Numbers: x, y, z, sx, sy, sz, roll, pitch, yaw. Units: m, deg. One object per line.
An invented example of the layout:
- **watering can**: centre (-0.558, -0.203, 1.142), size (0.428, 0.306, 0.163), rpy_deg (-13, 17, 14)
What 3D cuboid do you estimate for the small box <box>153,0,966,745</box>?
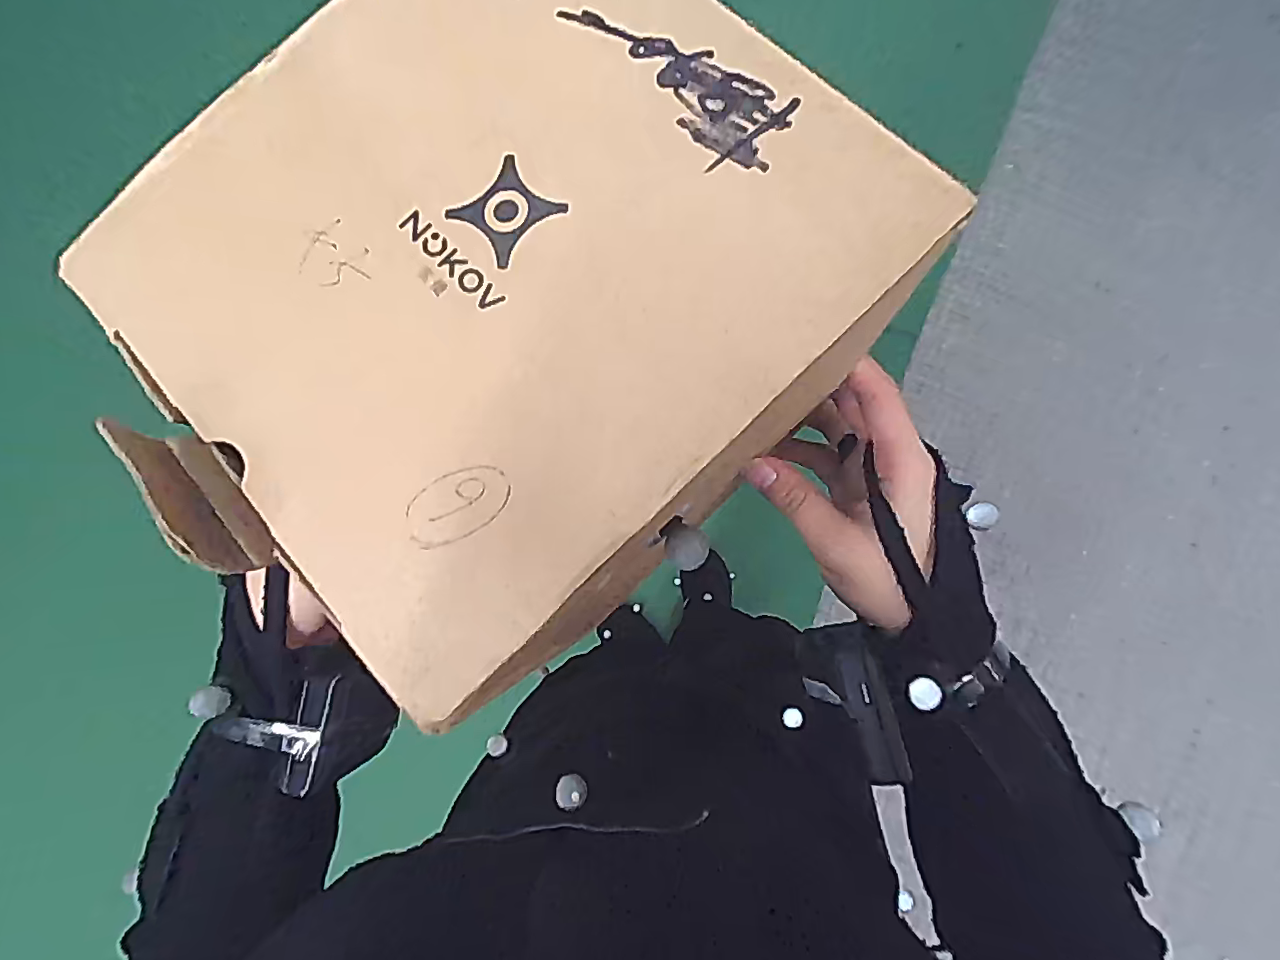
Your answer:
- **small box**: centre (-0.022, -0.035, 0.228), size (0.179, 0.176, 0.168), rpy_deg (-43, 79, -3)
